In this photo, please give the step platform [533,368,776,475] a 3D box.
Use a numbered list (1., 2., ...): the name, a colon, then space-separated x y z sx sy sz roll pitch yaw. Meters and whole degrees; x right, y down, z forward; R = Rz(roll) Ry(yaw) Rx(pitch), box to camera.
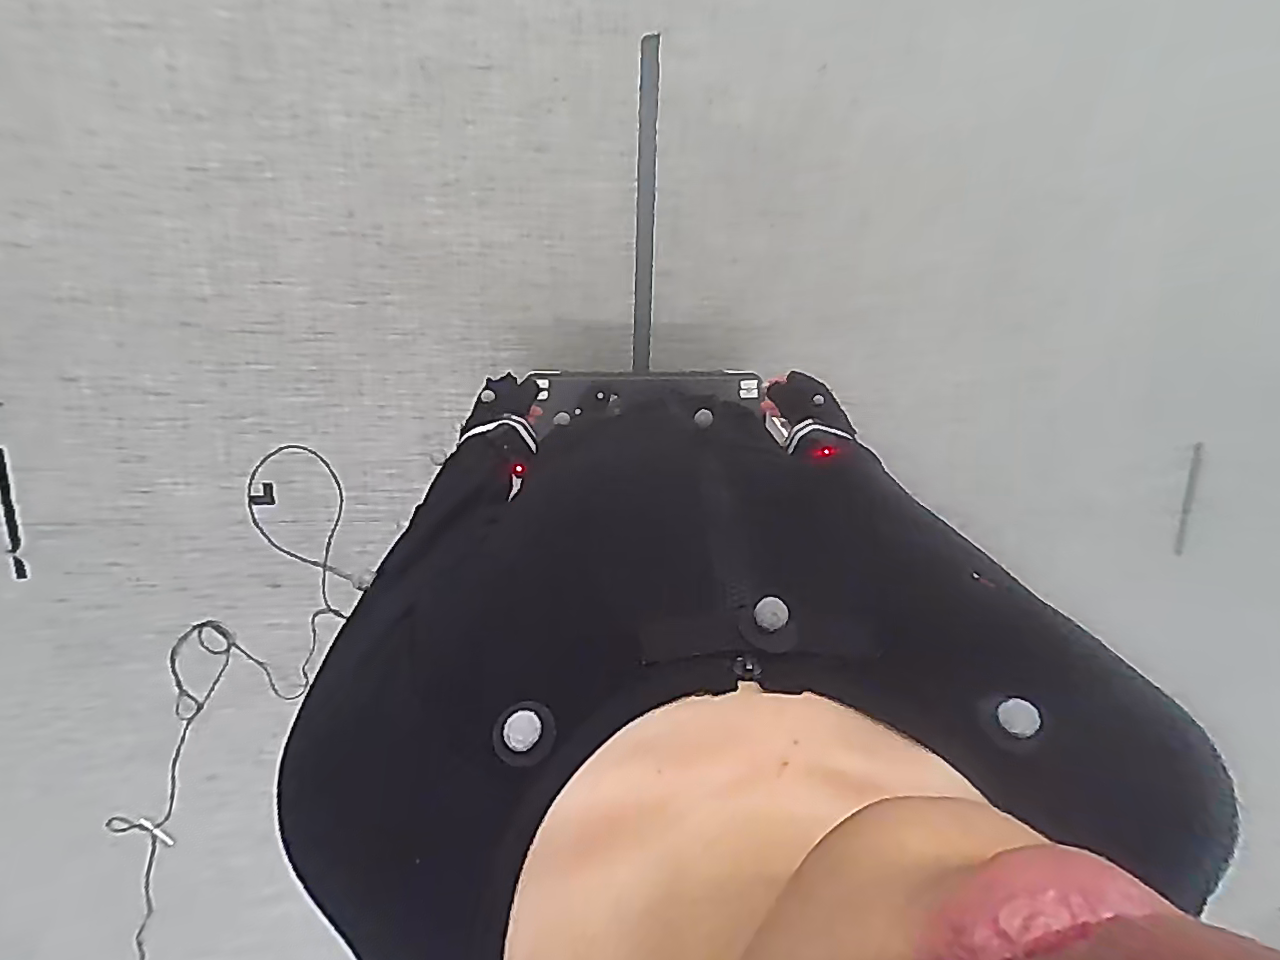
1. step platform: 0.040 -0.172 1.551 0.684 0.204 0.286 -2 102 -4
